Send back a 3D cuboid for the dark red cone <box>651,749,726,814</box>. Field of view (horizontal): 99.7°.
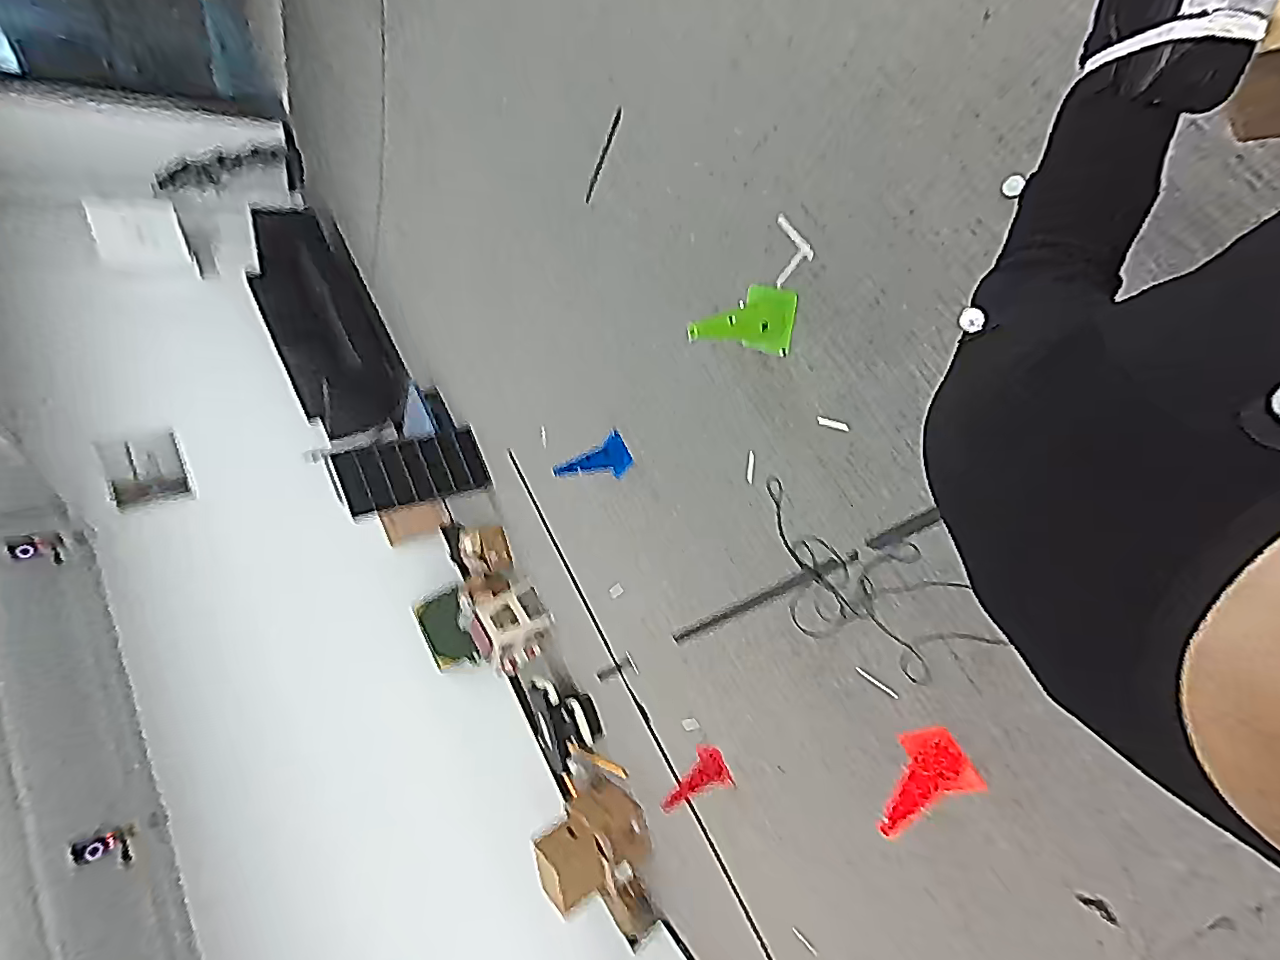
[{"bbox_3d":[0.218,1.499,2.639,0.202,0.394,0.201,-39,73,53],"label":"dark red cone"}]

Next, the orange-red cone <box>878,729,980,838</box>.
[{"bbox_3d":[0.822,0.946,1.629,0.198,0.360,0.199,58,141,16],"label":"orange-red cone"}]

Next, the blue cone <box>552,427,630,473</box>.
[{"bbox_3d":[-0.250,-0.104,2.605,0.193,0.380,0.192,-43,69,52],"label":"blue cone"}]

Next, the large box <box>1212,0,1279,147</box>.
[{"bbox_3d":[0.607,-0.400,0.259,0.408,0.320,0.320,19,117,45],"label":"large box"}]

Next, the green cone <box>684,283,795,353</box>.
[{"bbox_3d":[0.286,-0.494,1.687,0.202,0.368,0.200,32,129,43],"label":"green cone"}]
